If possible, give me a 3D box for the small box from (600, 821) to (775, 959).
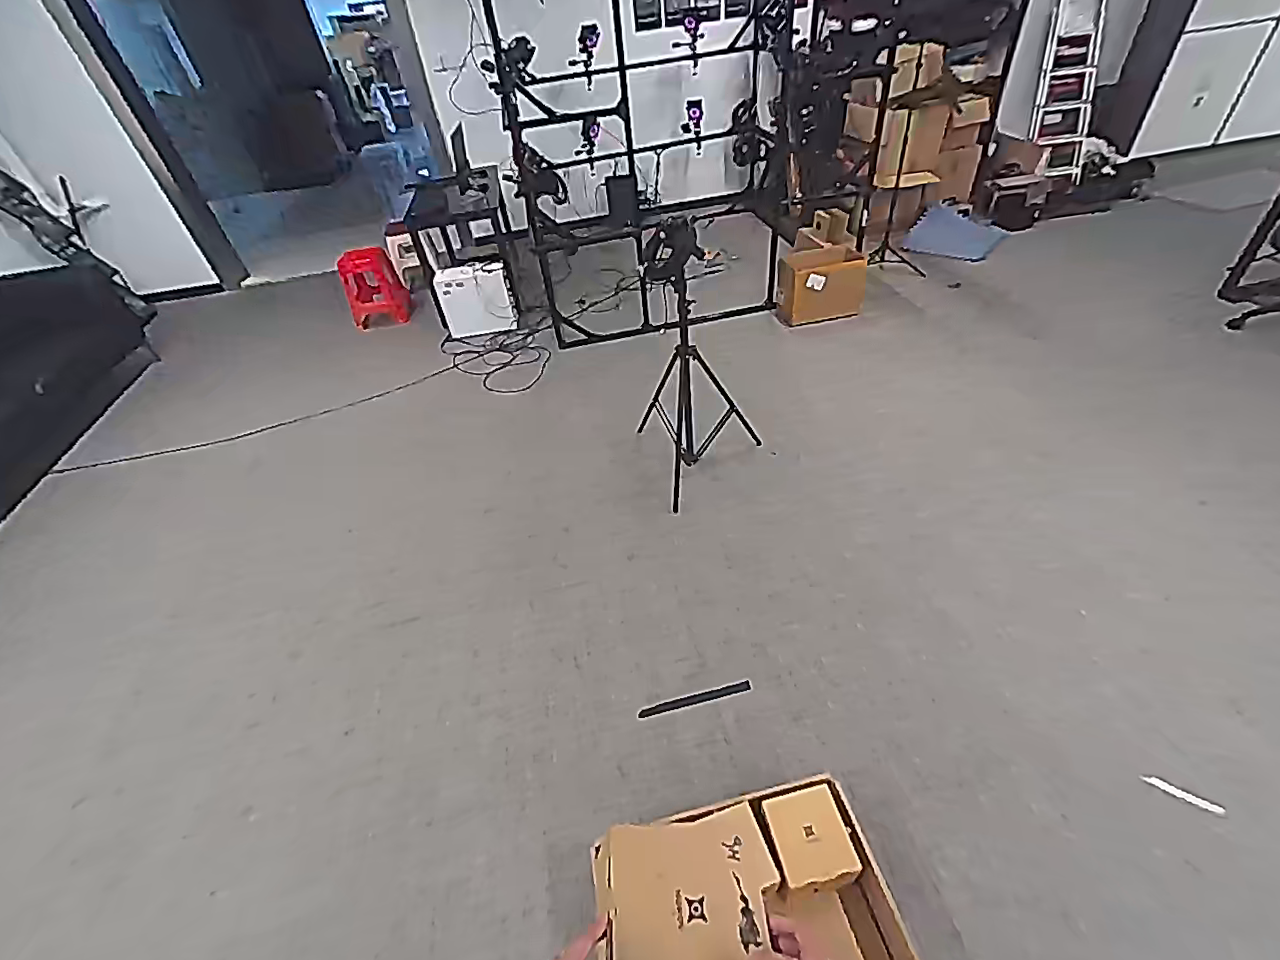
[{"bbox_3d":[0.043,0.520,0.635,0.179,0.176,0.168,3,43,-7],"label":"small box"}]
